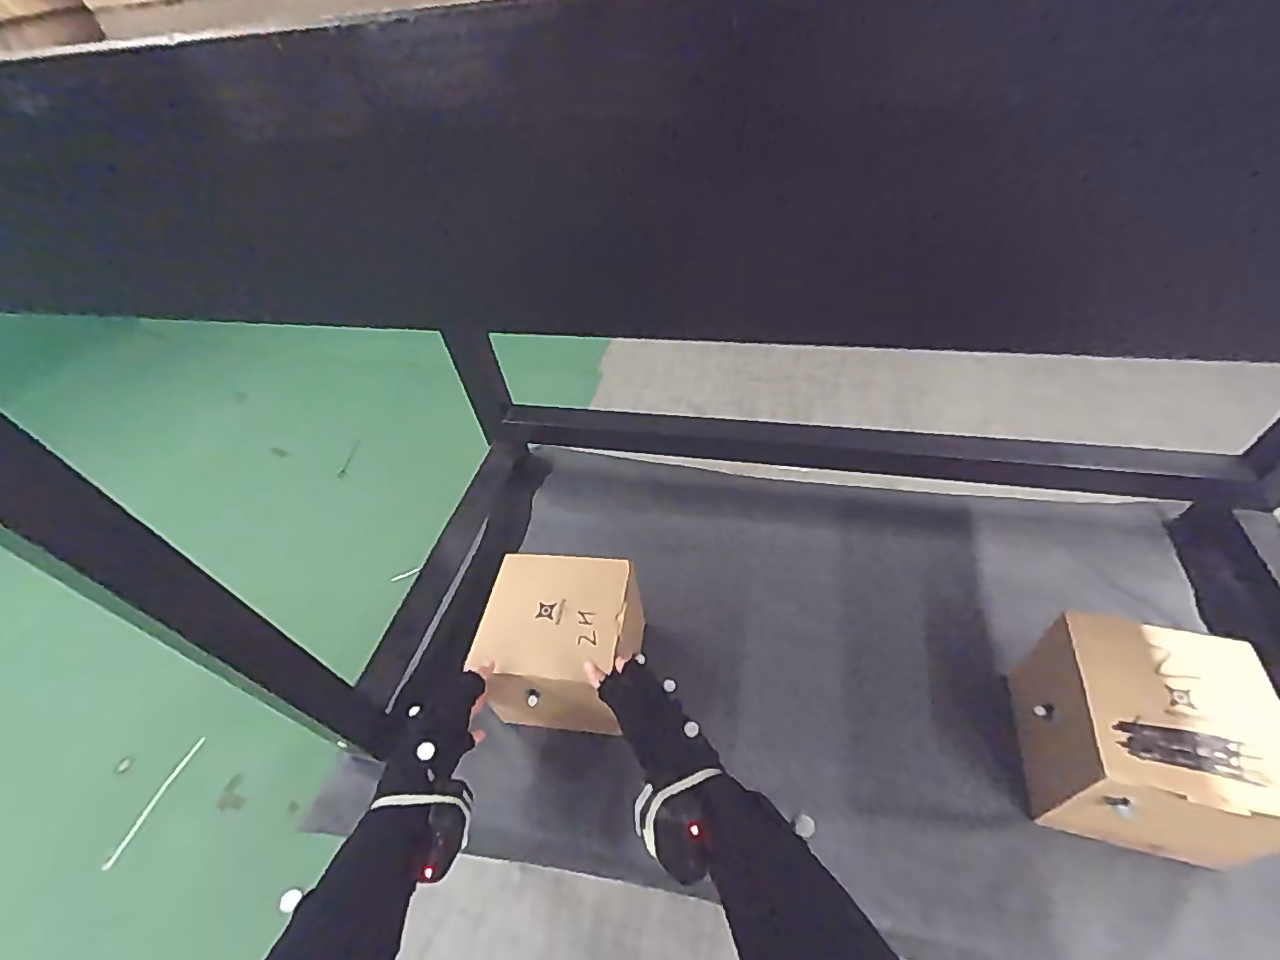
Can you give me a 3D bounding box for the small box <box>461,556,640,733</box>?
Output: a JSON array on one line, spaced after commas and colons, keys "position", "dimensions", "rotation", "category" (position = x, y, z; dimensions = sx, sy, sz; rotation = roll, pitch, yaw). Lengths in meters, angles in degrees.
[{"position": [-0.103, 0.219, 0.720], "dimensions": [0.179, 0.176, 0.168], "rotation": [3, 48, 10], "category": "small box"}]
